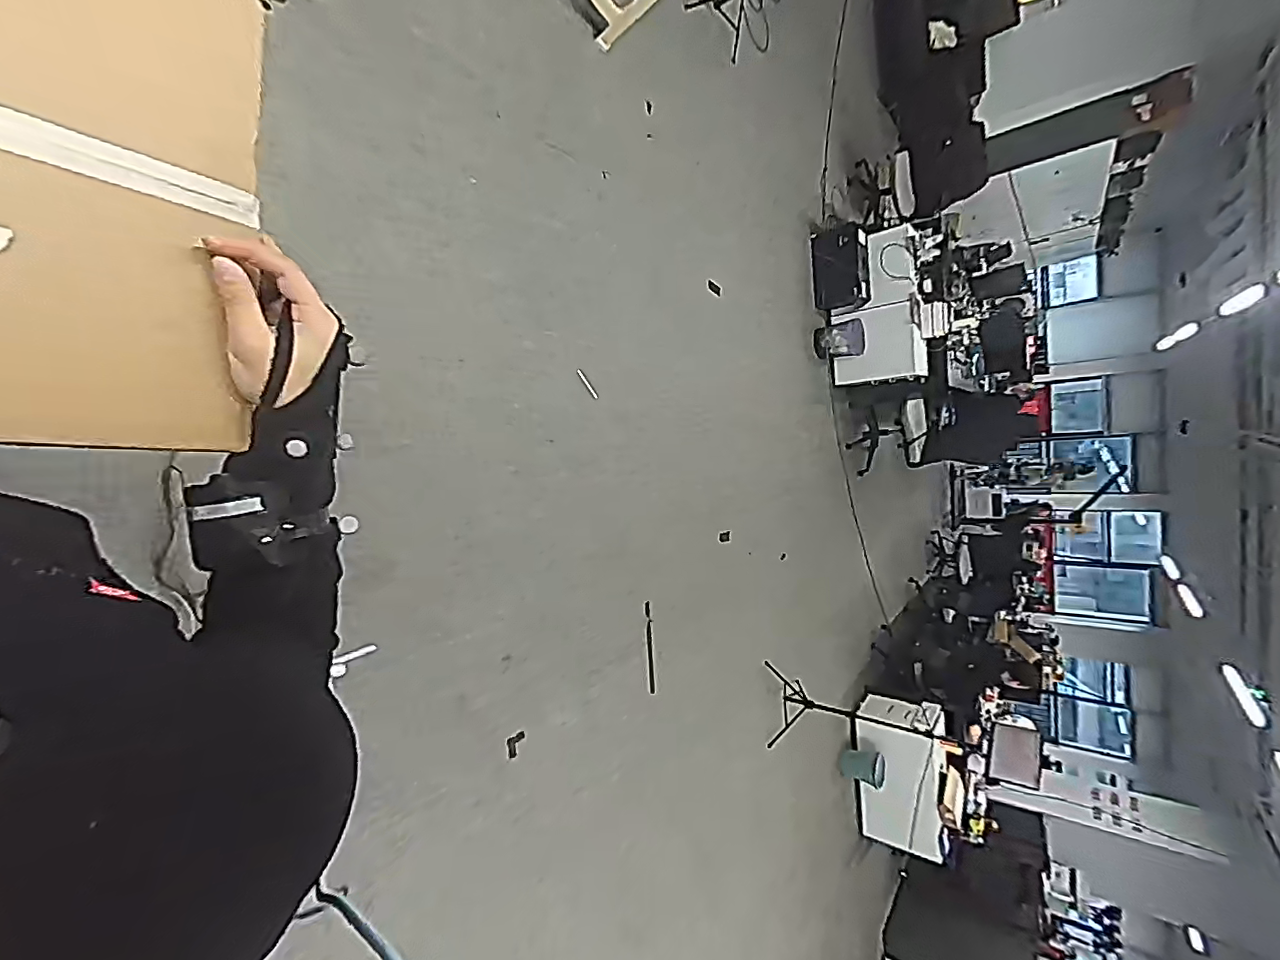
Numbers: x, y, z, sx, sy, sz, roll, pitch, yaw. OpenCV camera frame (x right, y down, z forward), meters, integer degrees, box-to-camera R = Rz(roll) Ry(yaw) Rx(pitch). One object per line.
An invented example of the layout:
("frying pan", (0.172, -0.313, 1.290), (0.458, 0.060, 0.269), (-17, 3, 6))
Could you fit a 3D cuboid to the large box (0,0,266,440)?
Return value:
("large box", (-0.499, -0.188, 0.306), (0.408, 0.320, 0.320), (0, 95, -52))
